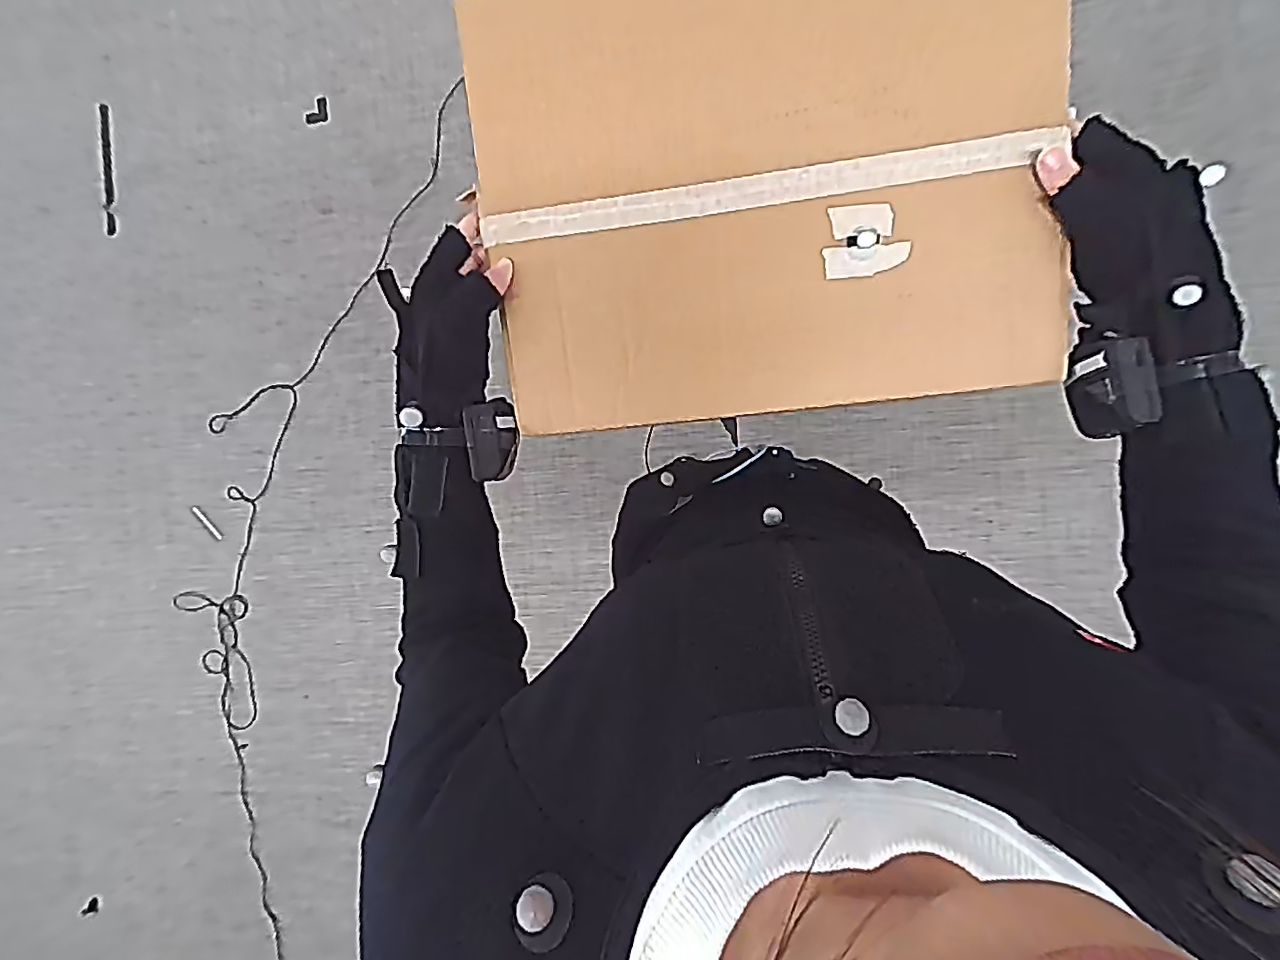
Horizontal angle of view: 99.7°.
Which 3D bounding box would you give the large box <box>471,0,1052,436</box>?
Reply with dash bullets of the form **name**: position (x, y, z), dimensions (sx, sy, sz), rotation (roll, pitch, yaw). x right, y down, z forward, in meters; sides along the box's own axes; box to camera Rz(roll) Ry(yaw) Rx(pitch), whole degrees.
- **large box**: position (0.100, -0.231, 0.543), dimensions (0.408, 0.320, 0.320), rotation (-6, 99, 5)
